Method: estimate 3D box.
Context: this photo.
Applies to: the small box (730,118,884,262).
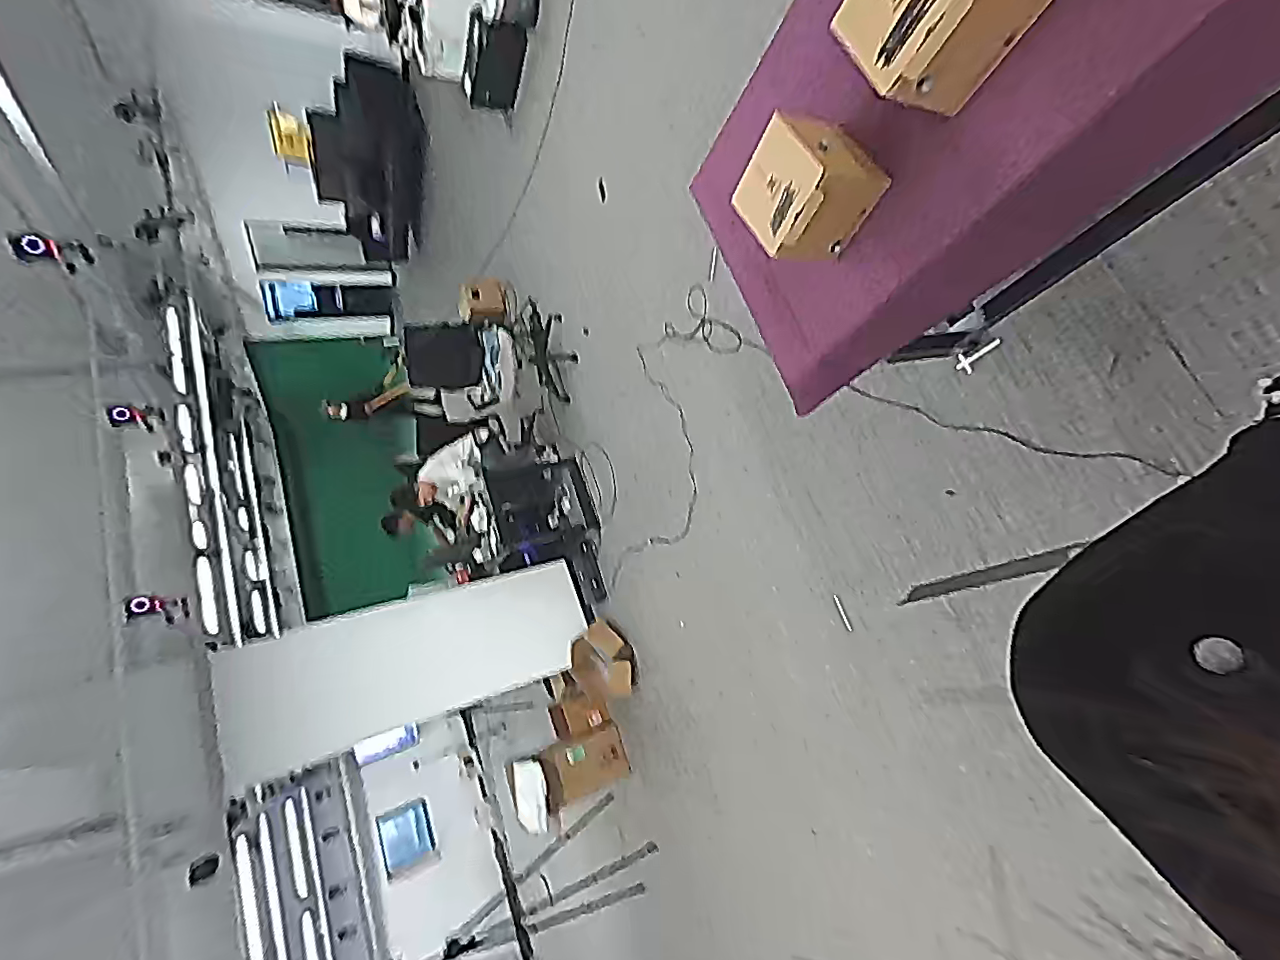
[{"bbox_3d":[0.305,-0.527,0.995,0.179,0.176,0.168,65,147,24],"label":"small box"}]
